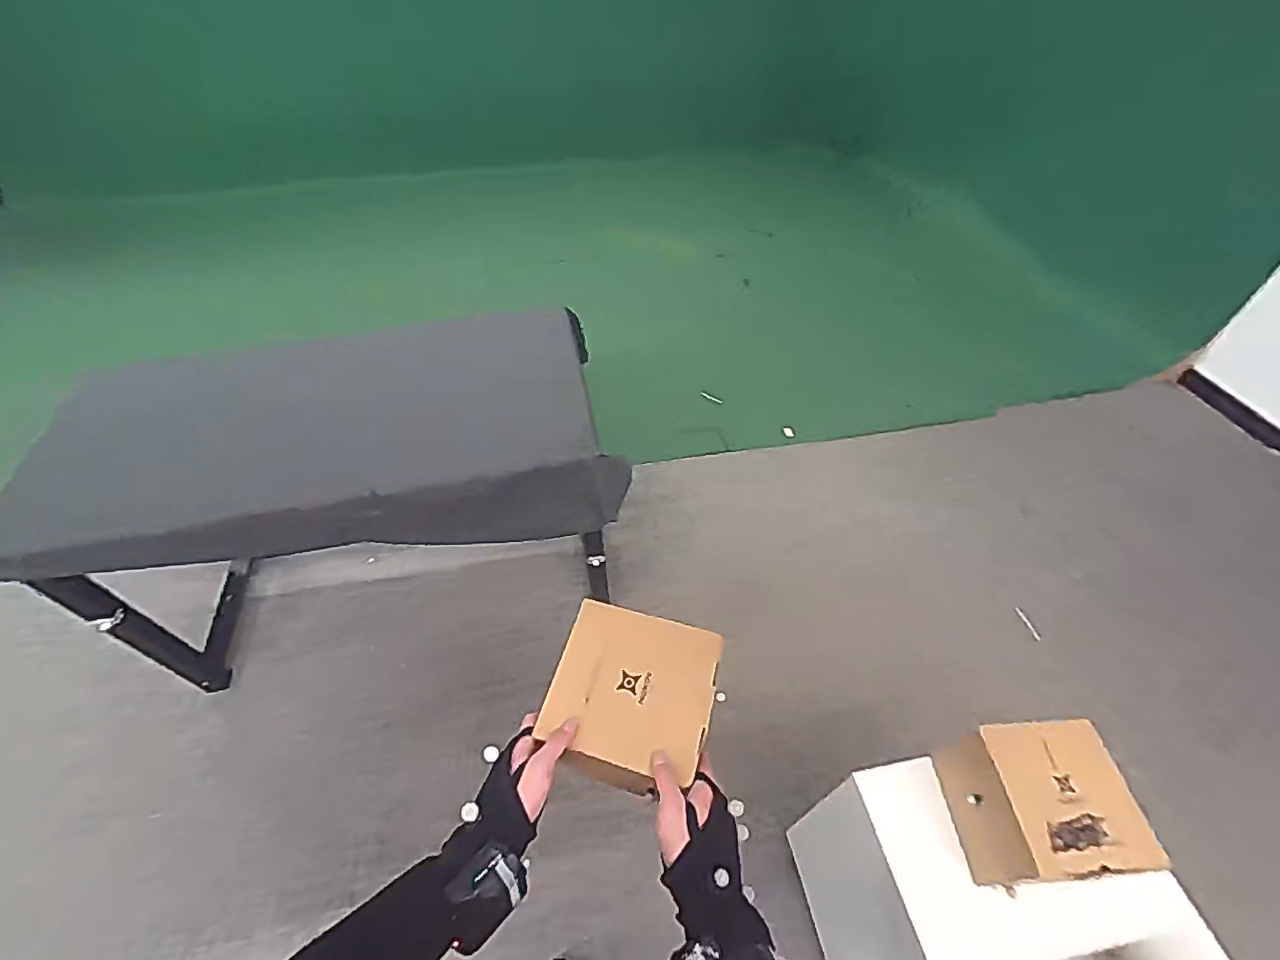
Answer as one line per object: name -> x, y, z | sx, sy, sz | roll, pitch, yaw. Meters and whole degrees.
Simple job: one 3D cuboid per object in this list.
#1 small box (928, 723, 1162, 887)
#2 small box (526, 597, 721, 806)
small box -> 0.548, 0.463, 0.766 | 0.168, 0.176, 0.179 | -1, 49, -3
small box -> -0.010, 0.267, 0.643 | 0.179, 0.176, 0.168 | 11, 51, 11
